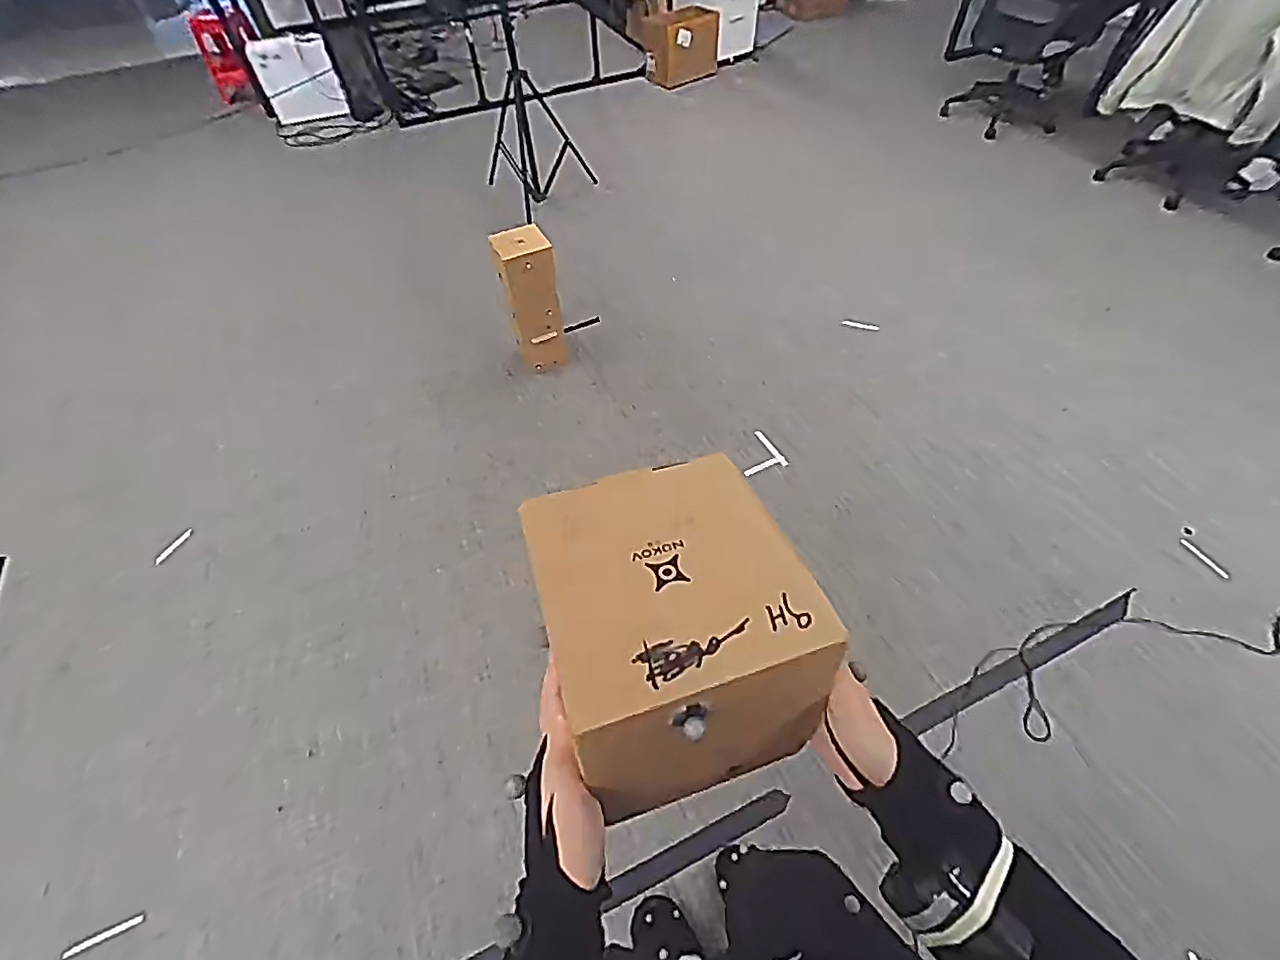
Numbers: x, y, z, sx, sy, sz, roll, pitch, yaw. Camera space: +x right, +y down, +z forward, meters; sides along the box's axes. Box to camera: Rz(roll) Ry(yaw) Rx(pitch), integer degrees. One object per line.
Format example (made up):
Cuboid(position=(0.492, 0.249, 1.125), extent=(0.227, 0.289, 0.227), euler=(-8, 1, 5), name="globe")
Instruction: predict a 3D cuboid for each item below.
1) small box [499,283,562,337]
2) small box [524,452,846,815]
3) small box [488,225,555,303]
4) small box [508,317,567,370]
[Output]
Cuboid(position=(-0.404, -0.653, 2.013), extent=(0.168, 0.176, 0.179), euler=(-24, 56, -15), name="small box")
Cuboid(position=(0.019, 0.109, 0.404), extent=(0.168, 0.176, 0.179), euler=(-15, 44, -11), name="small box")
Cuboid(position=(-0.406, -0.751, 1.883), extent=(0.179, 0.176, 0.168), euler=(-24, 58, -15), name="small box")
Cuboid(position=(-0.401, -0.558, 2.144), extent=(0.168, 0.176, 0.179), euler=(-24, 57, -14), name="small box")
